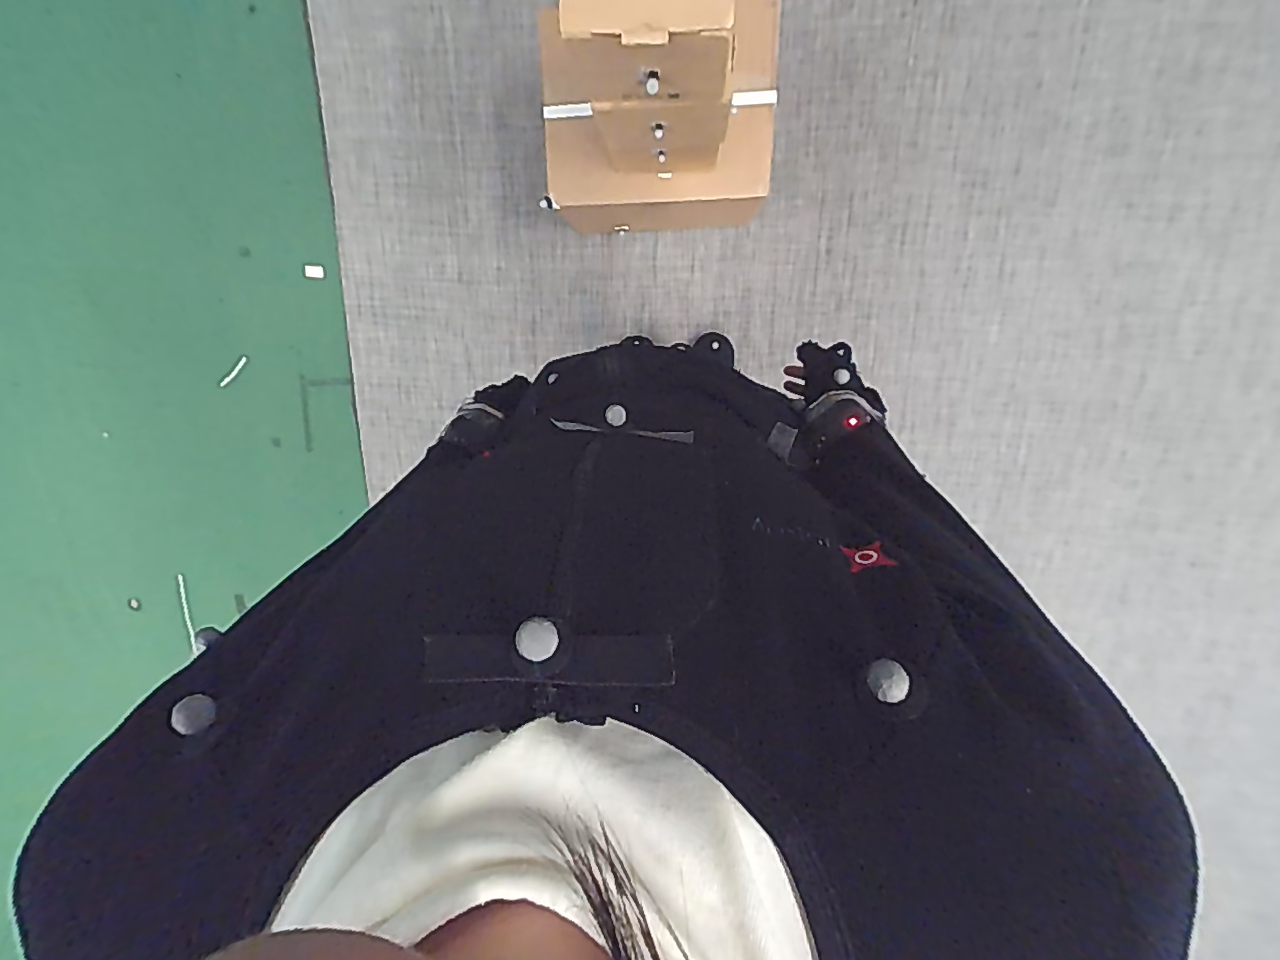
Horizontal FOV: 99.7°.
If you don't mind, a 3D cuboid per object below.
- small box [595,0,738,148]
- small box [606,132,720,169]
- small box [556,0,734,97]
[{"bbox_3d":[0.034,-0.559,0.715,0.179,0.176,0.168,-2,107,6],"label":"small box"},{"bbox_3d":[0.043,-0.611,0.870,0.179,0.176,0.168,2,107,4],"label":"small box"},{"bbox_3d":[0.015,-0.521,0.556,0.168,0.176,0.179,5,108,6],"label":"small box"}]
